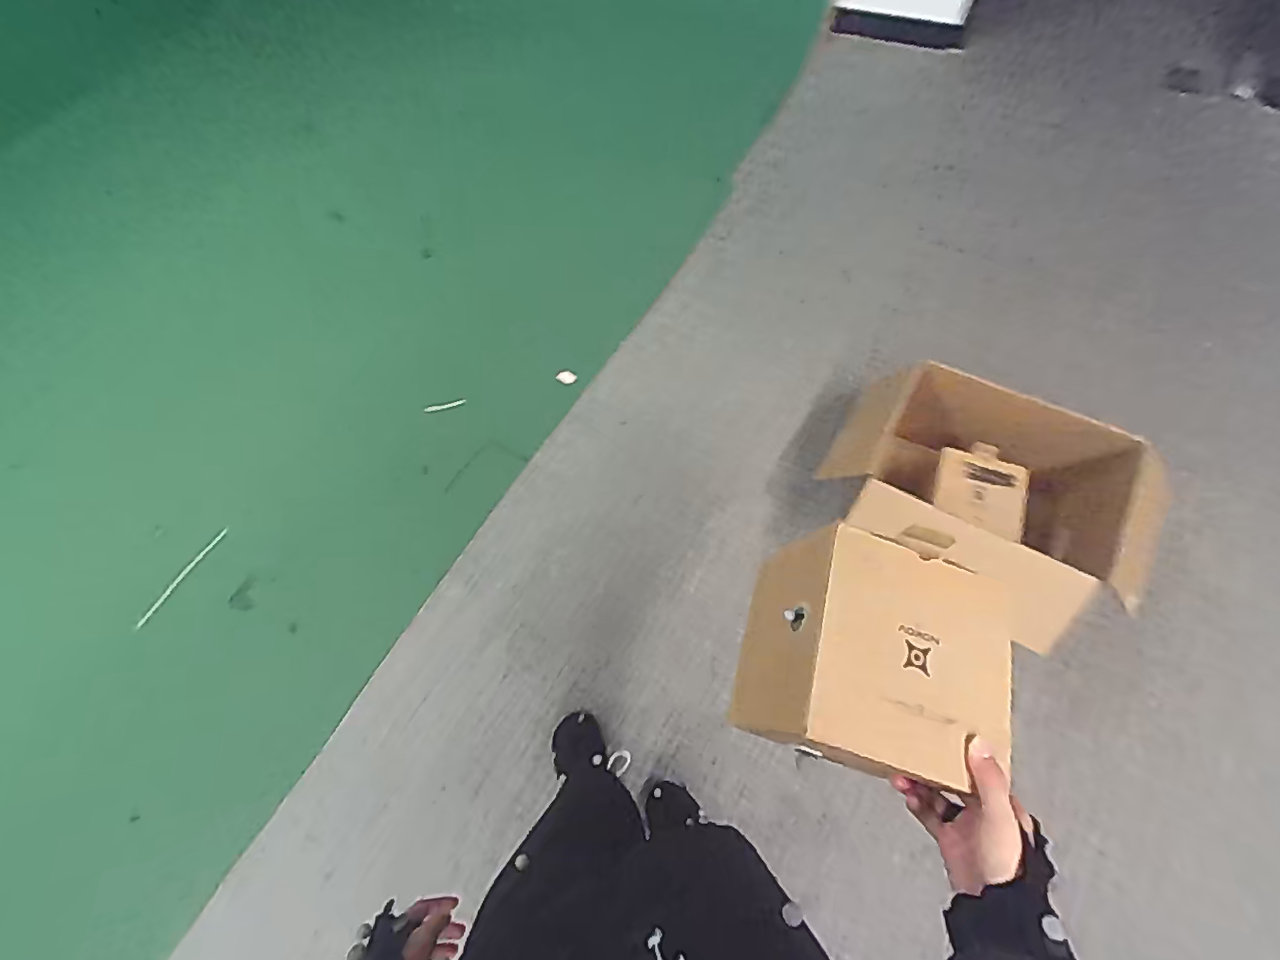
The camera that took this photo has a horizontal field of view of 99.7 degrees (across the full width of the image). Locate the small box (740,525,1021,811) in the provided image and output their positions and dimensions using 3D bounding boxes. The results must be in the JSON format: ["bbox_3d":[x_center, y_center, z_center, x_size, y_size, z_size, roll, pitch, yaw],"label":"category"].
[{"bbox_3d":[0.209,0.170,0.498,0.168,0.176,0.179,21,65,-3],"label":"small box"}]
